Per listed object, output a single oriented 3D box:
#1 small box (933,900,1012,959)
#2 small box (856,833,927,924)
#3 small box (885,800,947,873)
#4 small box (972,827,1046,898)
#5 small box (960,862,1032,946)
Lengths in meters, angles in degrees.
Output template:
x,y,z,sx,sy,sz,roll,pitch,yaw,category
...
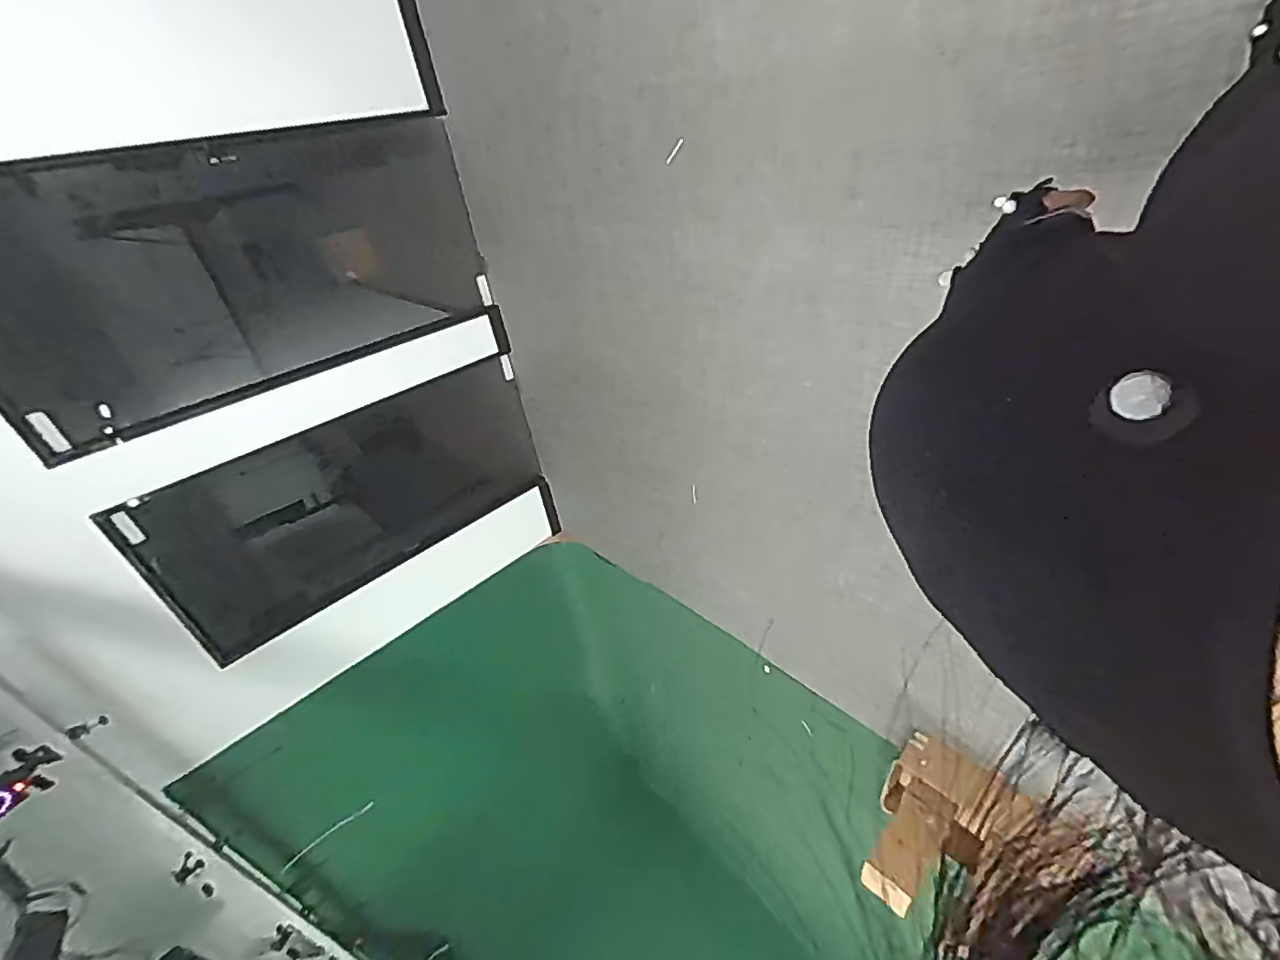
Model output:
x,y,z,sx,sy,sz,roll,pitch,yaw,category
1.096,1.548,1.780,0.168,0.176,0.179,24,133,45,small box
0.907,1.432,1.949,0.168,0.176,0.179,27,136,40,small box
1.027,1.360,2.037,0.168,0.176,0.179,29,135,38,small box
1.339,1.419,1.962,0.168,0.176,0.179,26,134,43,small box
1.220,1.481,1.865,0.168,0.176,0.179,23,132,45,small box
